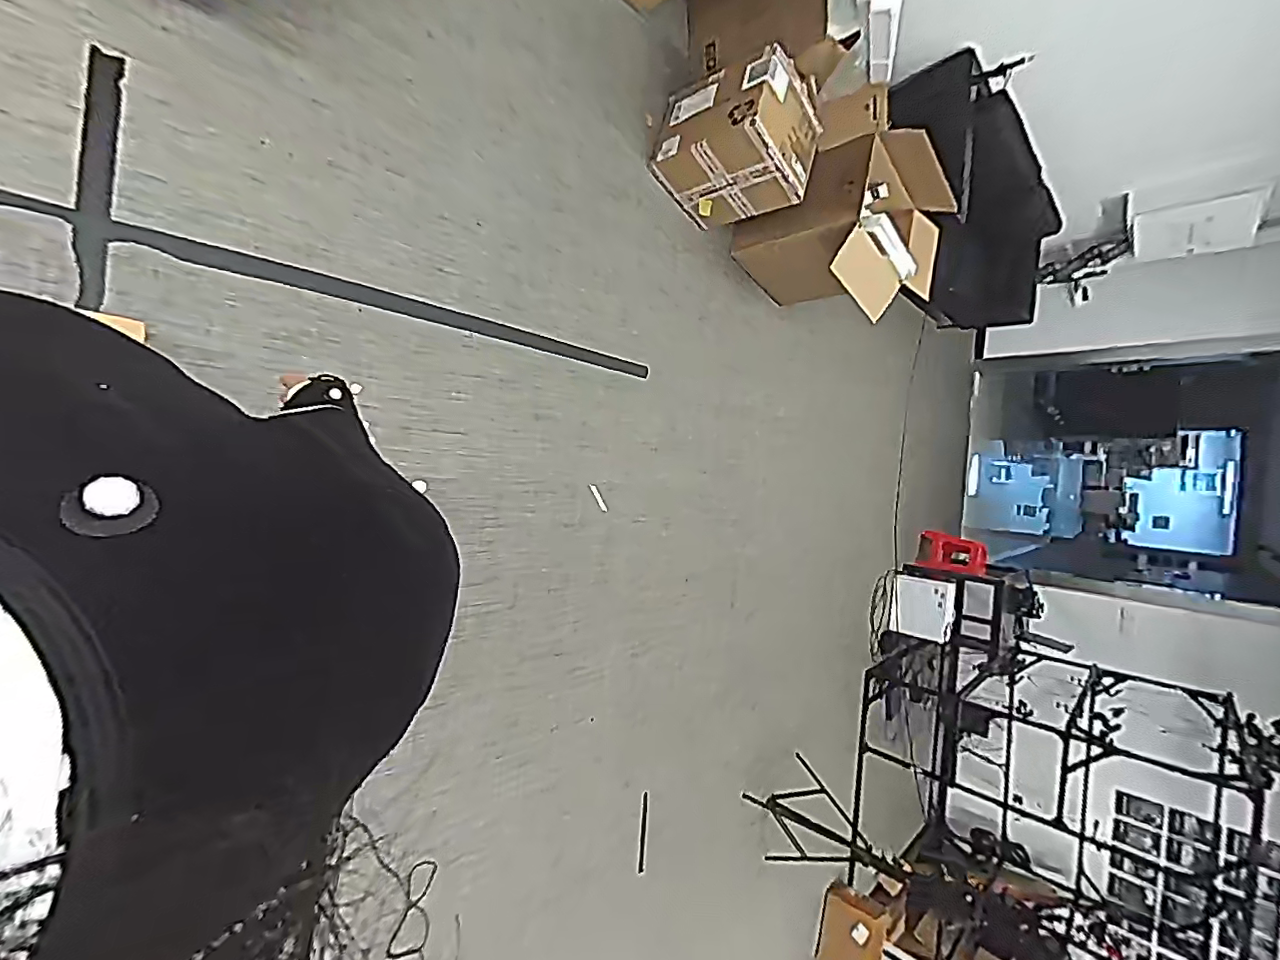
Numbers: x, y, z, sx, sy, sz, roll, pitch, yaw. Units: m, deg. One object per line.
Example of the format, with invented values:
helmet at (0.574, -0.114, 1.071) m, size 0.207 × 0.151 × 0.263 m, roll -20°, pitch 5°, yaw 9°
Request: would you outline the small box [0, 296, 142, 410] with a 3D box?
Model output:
small box at (-1.051, -0.222, 0.997) m, size 0.179 × 0.176 × 0.168 m, roll 5°, pitch 91°, yaw -47°
